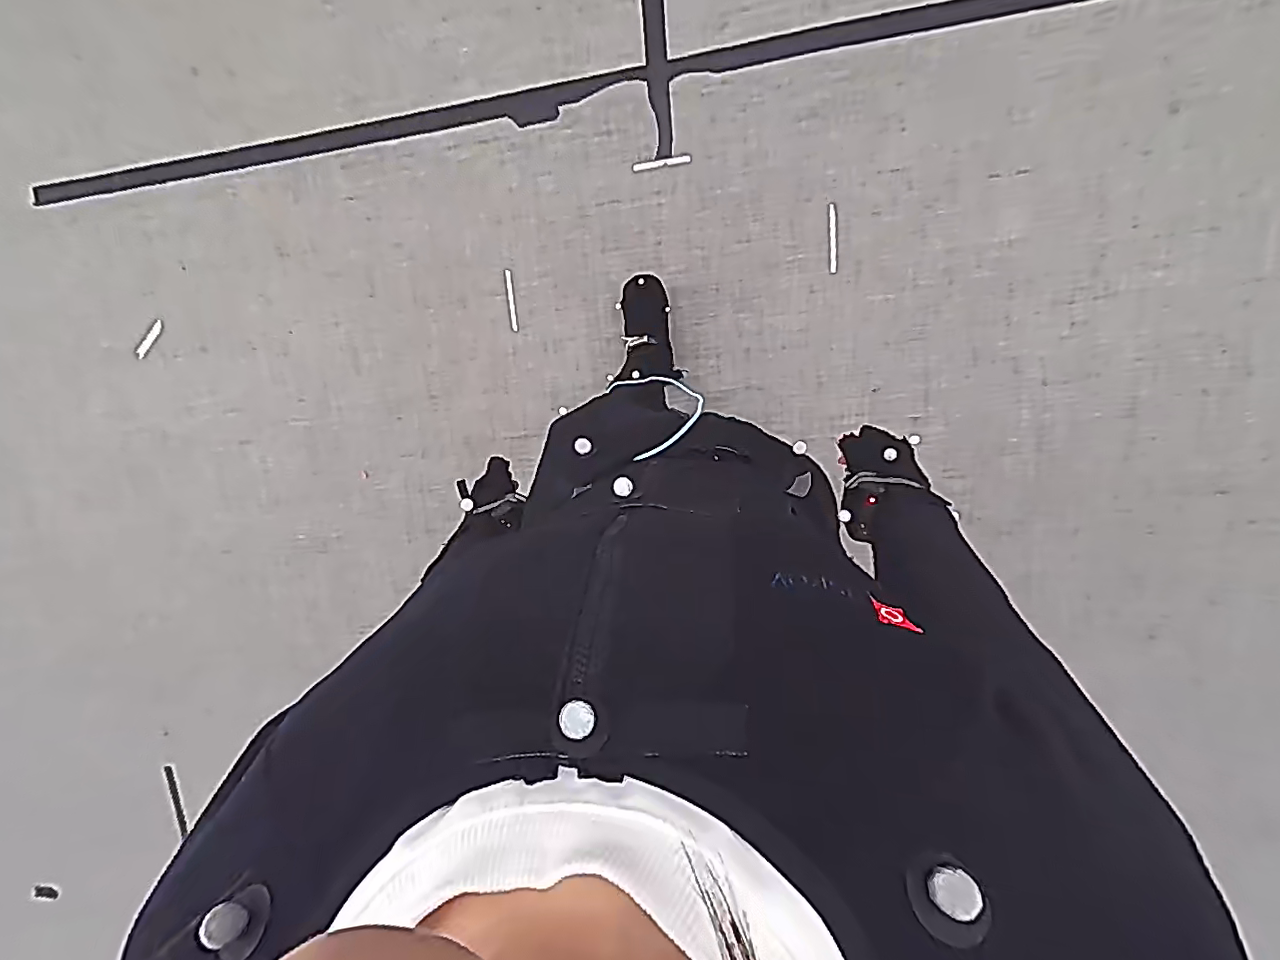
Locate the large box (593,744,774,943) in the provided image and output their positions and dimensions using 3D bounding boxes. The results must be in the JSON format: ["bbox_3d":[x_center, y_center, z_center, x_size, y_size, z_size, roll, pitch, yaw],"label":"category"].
[{"bbox_3d":[0.122,0.978,1.482,0.408,0.320,0.320,-12,101,8],"label":"large box"}]
